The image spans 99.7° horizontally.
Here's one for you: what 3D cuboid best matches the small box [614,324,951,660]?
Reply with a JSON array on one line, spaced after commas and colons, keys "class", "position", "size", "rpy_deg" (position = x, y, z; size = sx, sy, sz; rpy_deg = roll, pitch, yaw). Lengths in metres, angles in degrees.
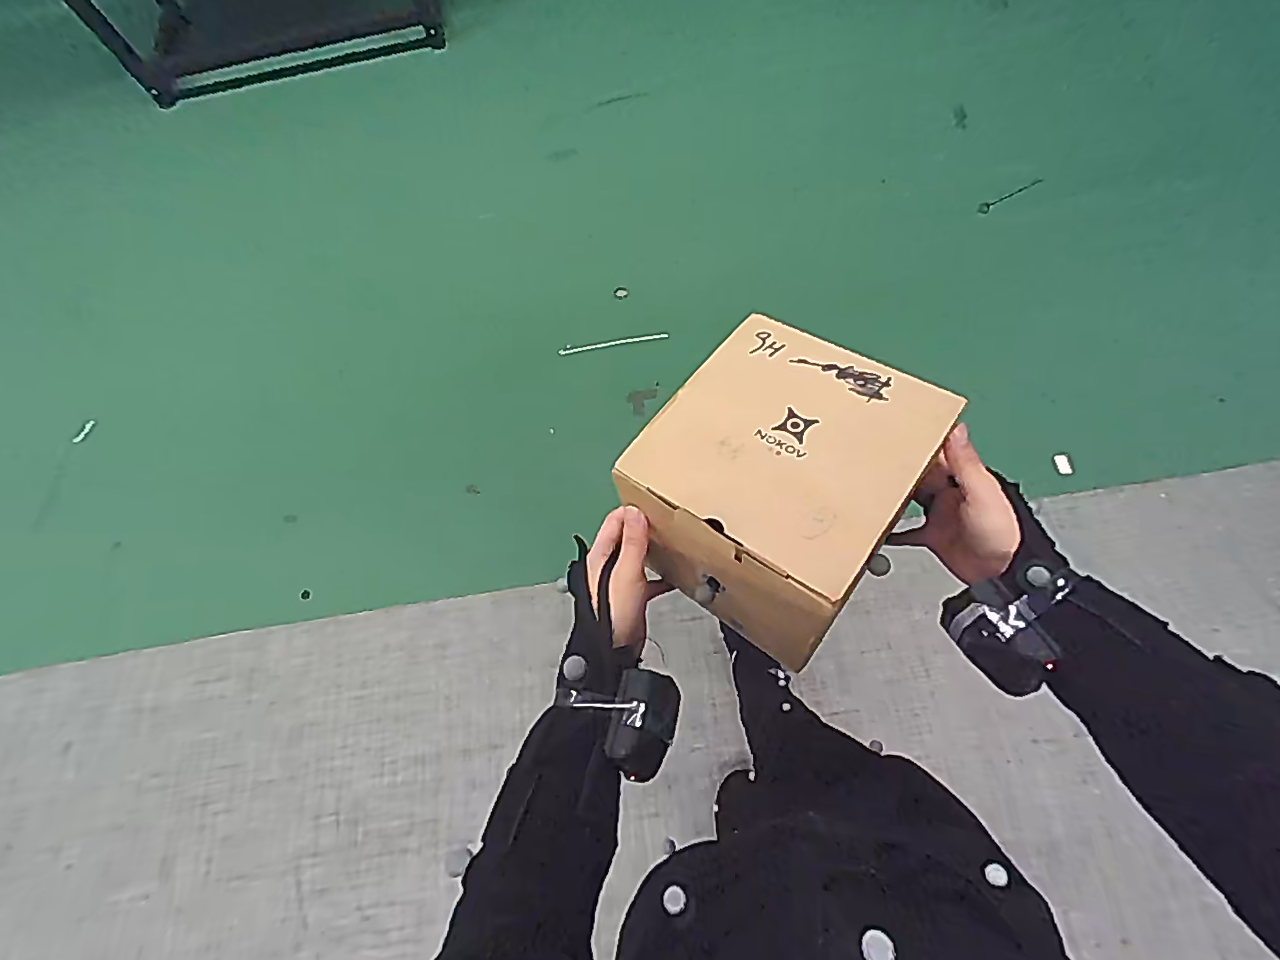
[{"class": "small box", "position": [0.108, 0.016, 0.435], "size": [0.168, 0.176, 0.179], "rpy_deg": [32, 69, 25]}]
